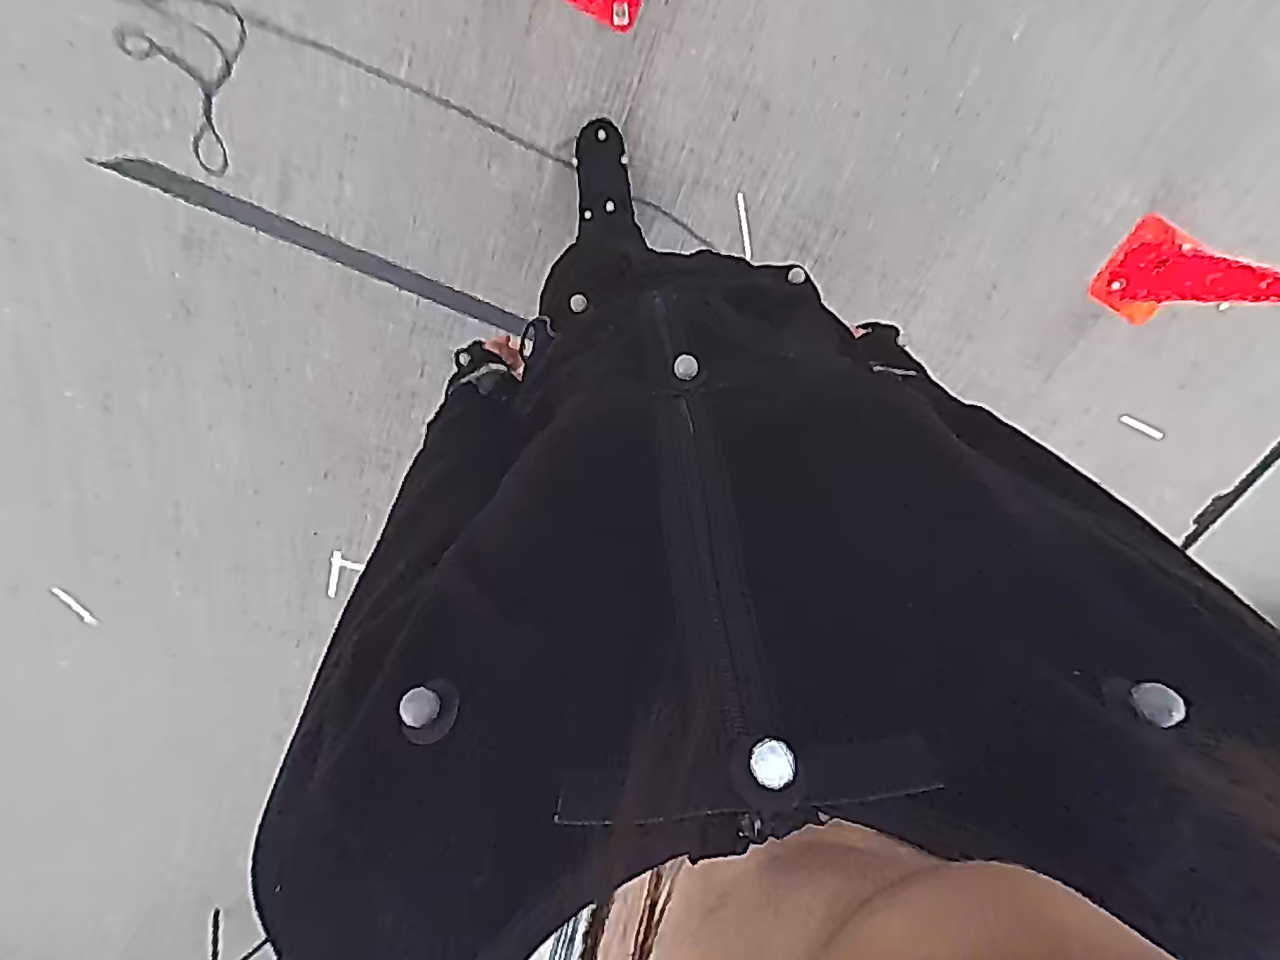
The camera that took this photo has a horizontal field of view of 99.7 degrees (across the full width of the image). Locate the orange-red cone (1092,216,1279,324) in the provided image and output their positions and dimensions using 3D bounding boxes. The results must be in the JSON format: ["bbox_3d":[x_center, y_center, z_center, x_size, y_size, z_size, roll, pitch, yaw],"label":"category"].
[{"bbox_3d":[1.224,-0.419,1.144,0.199,0.360,0.198,23,114,-15],"label":"orange-red cone"}]
